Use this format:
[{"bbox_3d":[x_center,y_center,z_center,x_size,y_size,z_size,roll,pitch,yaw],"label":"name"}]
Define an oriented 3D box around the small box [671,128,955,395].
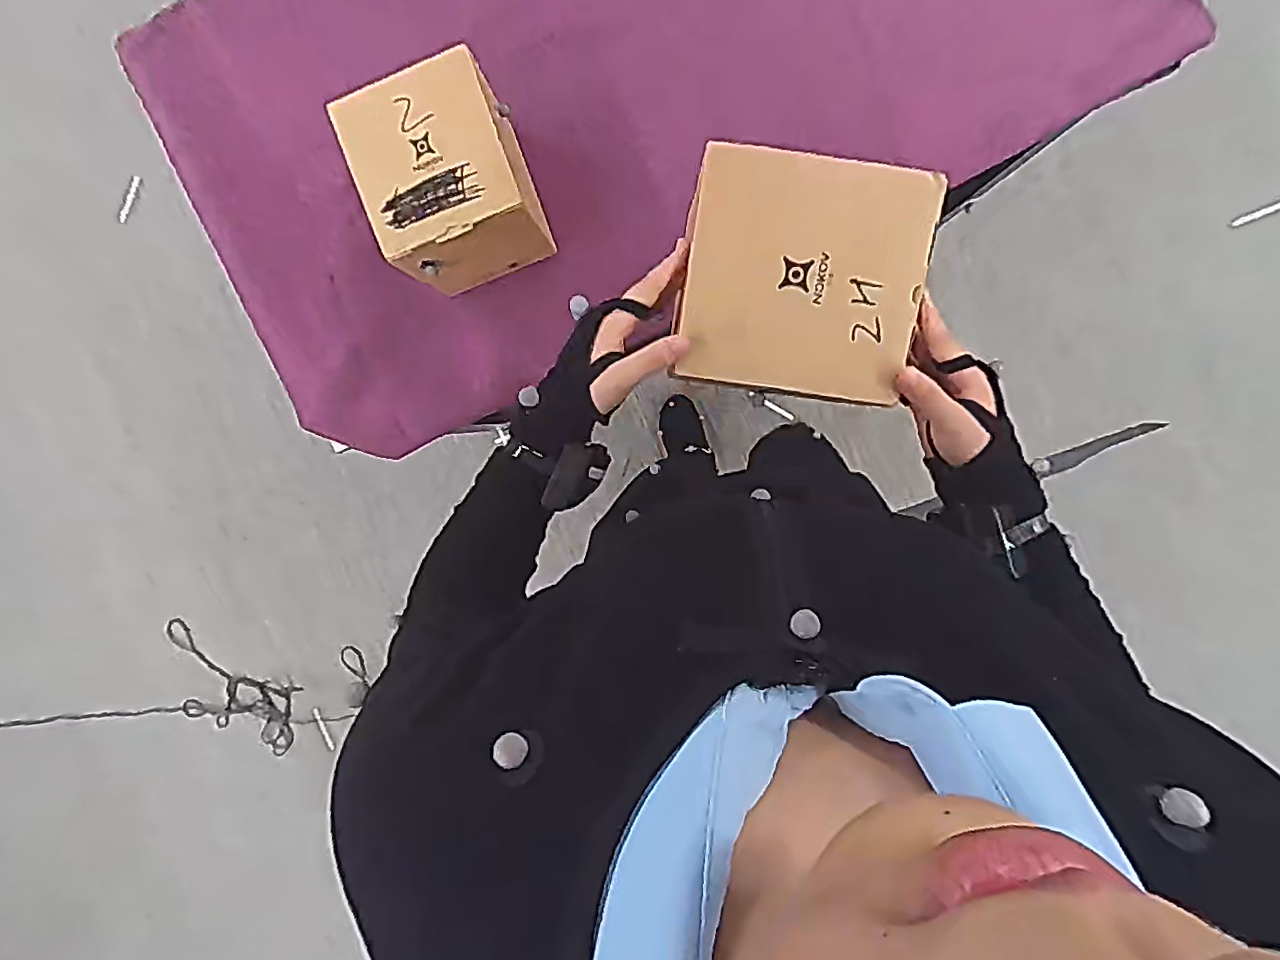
[{"bbox_3d":[0.124,-0.167,0.468,0.179,0.176,0.168,8,100,-1],"label":"small box"}]
